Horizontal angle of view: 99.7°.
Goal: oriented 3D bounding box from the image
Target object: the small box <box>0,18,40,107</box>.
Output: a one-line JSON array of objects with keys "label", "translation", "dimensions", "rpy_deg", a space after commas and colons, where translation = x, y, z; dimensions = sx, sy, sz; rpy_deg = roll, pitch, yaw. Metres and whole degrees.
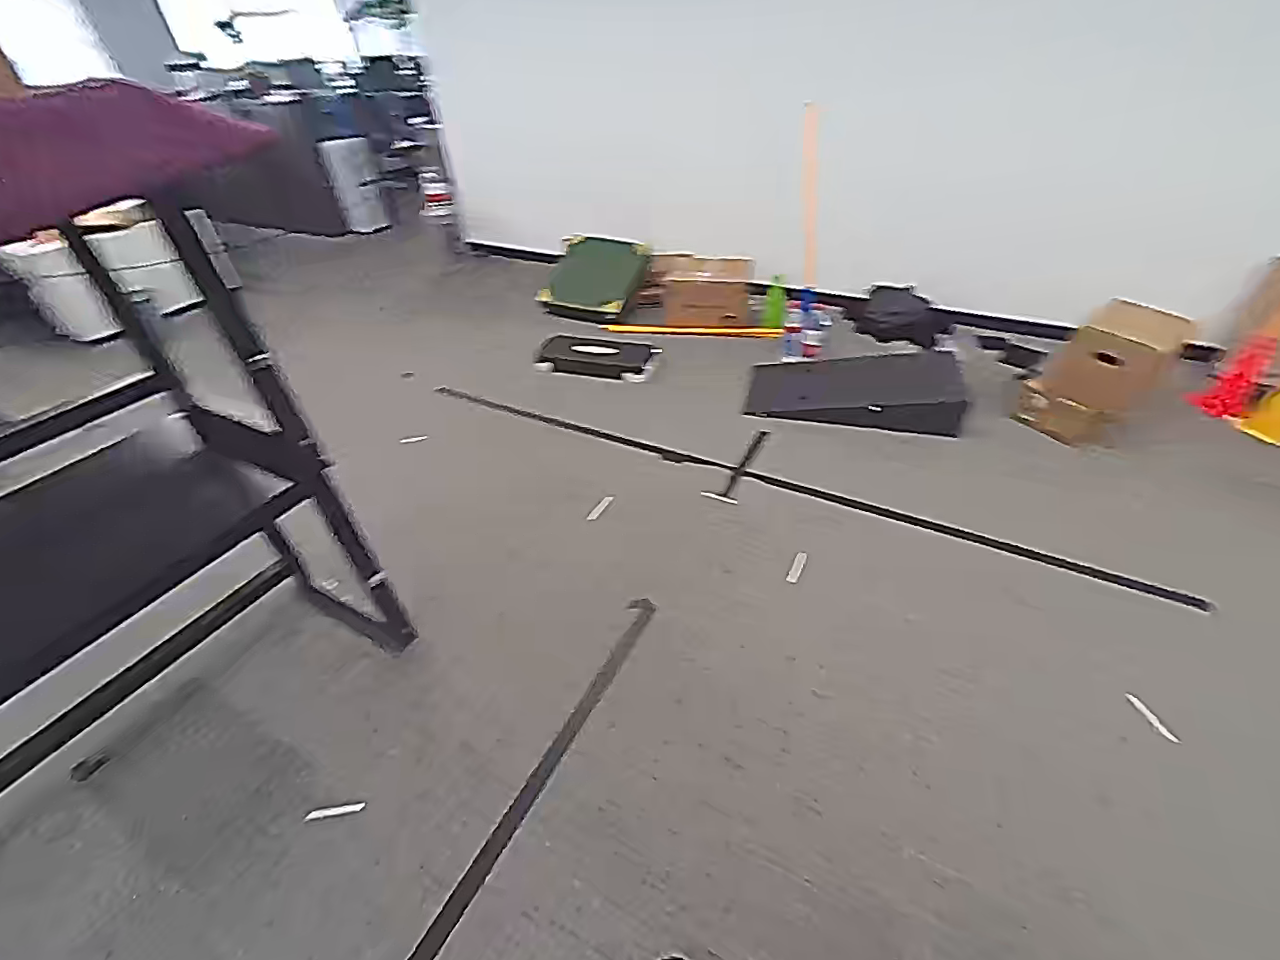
[{"label": "small box", "translation": [-0.997, -0.610, 0.743], "dimensions": [0.168, 0.176, 0.179], "rpy_deg": [21, 46, 28]}]
